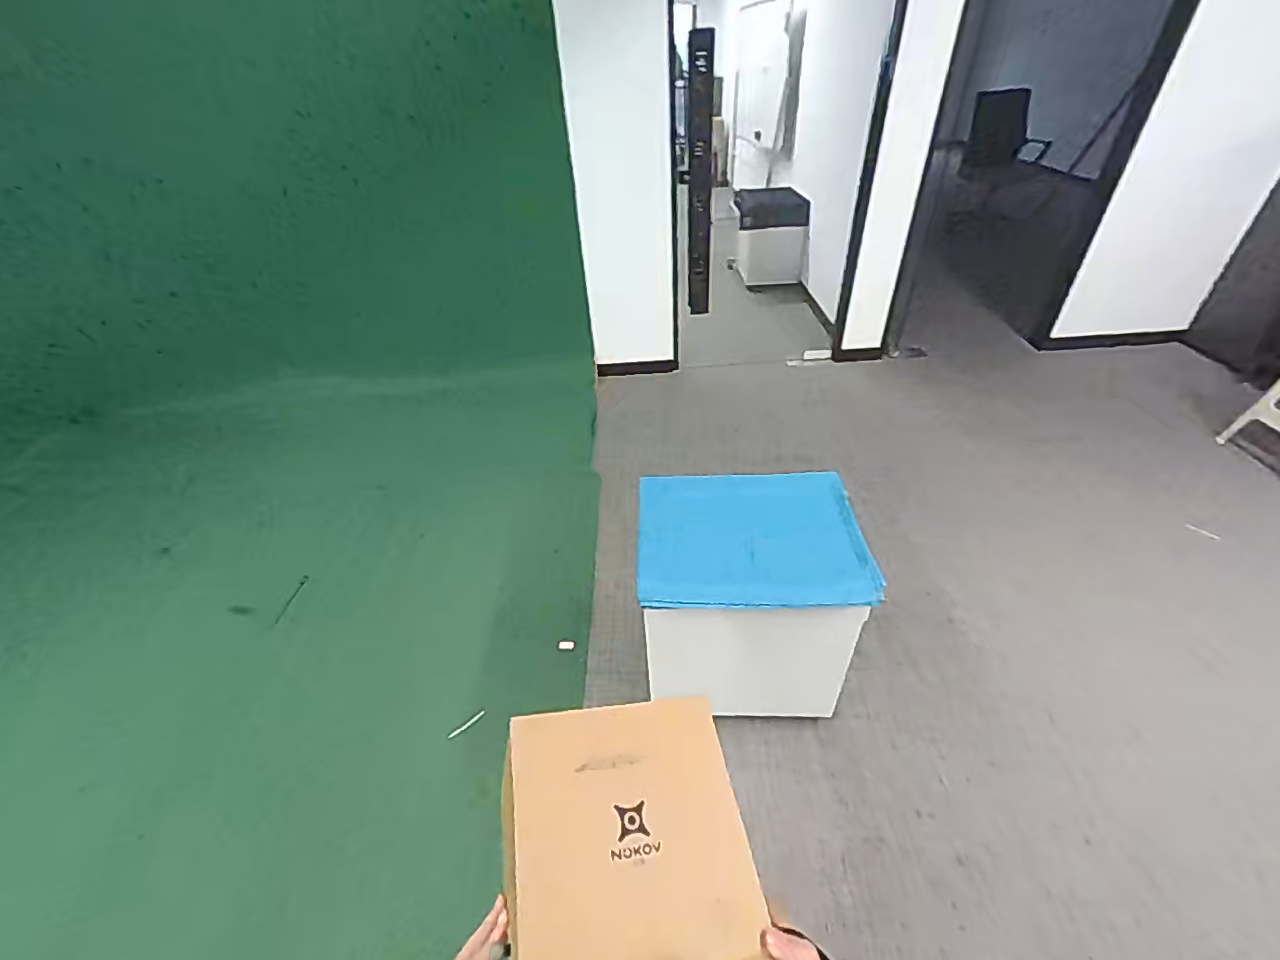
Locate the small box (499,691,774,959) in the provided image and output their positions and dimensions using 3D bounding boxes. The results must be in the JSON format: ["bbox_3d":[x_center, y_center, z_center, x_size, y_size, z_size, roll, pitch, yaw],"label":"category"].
[{"bbox_3d":[-0.022,0.293,0.430,0.168,0.176,0.179,2,43,-16],"label":"small box"}]
